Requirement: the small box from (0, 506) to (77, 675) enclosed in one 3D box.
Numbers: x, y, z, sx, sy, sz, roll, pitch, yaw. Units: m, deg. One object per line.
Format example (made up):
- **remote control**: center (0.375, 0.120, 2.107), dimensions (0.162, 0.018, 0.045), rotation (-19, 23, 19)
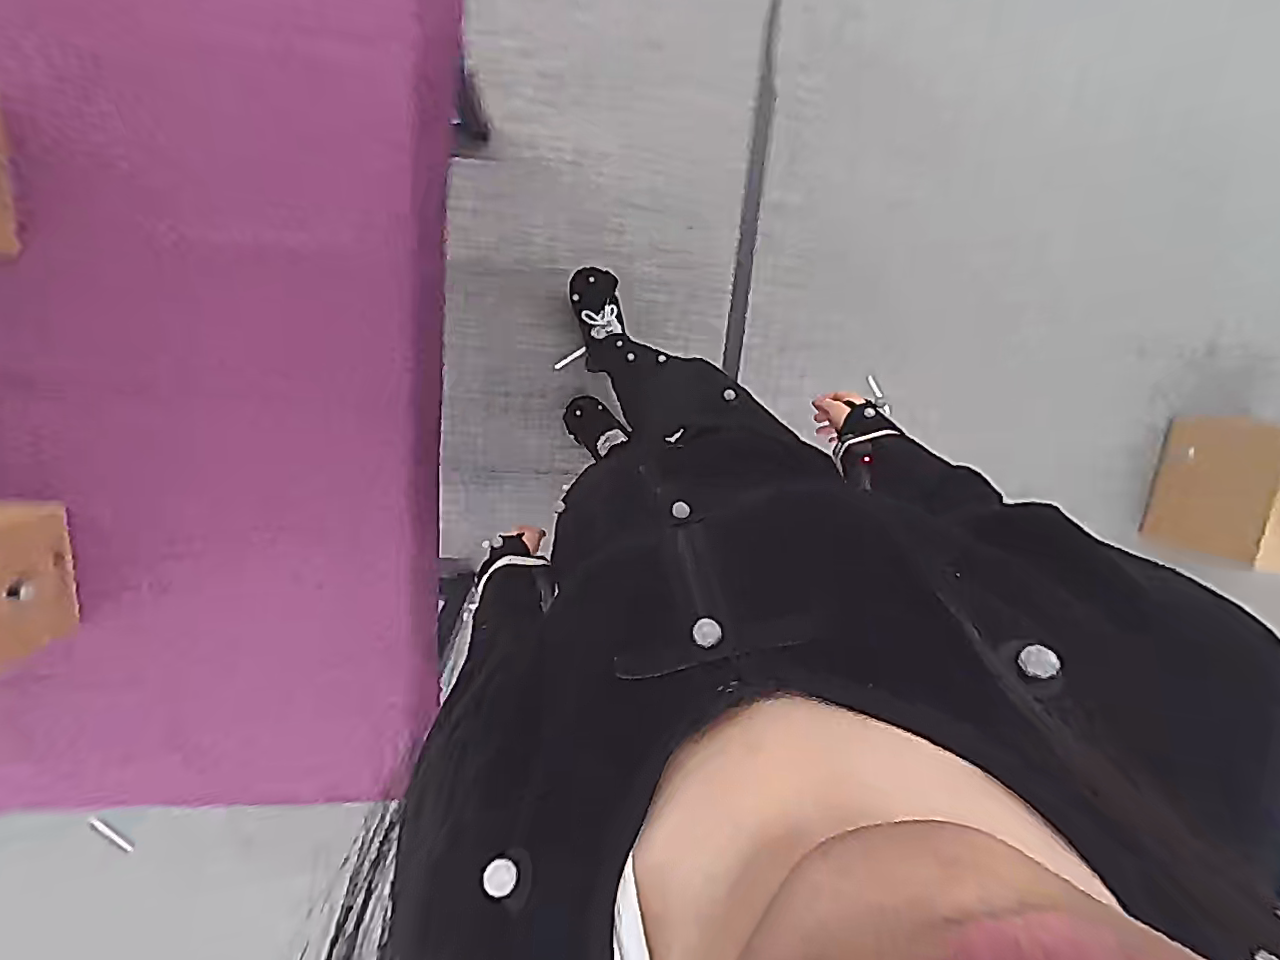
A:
- **small box**: center (-0.774, 0.125, 0.587), dimensions (0.179, 0.176, 0.168), rotation (2, 101, -10)
